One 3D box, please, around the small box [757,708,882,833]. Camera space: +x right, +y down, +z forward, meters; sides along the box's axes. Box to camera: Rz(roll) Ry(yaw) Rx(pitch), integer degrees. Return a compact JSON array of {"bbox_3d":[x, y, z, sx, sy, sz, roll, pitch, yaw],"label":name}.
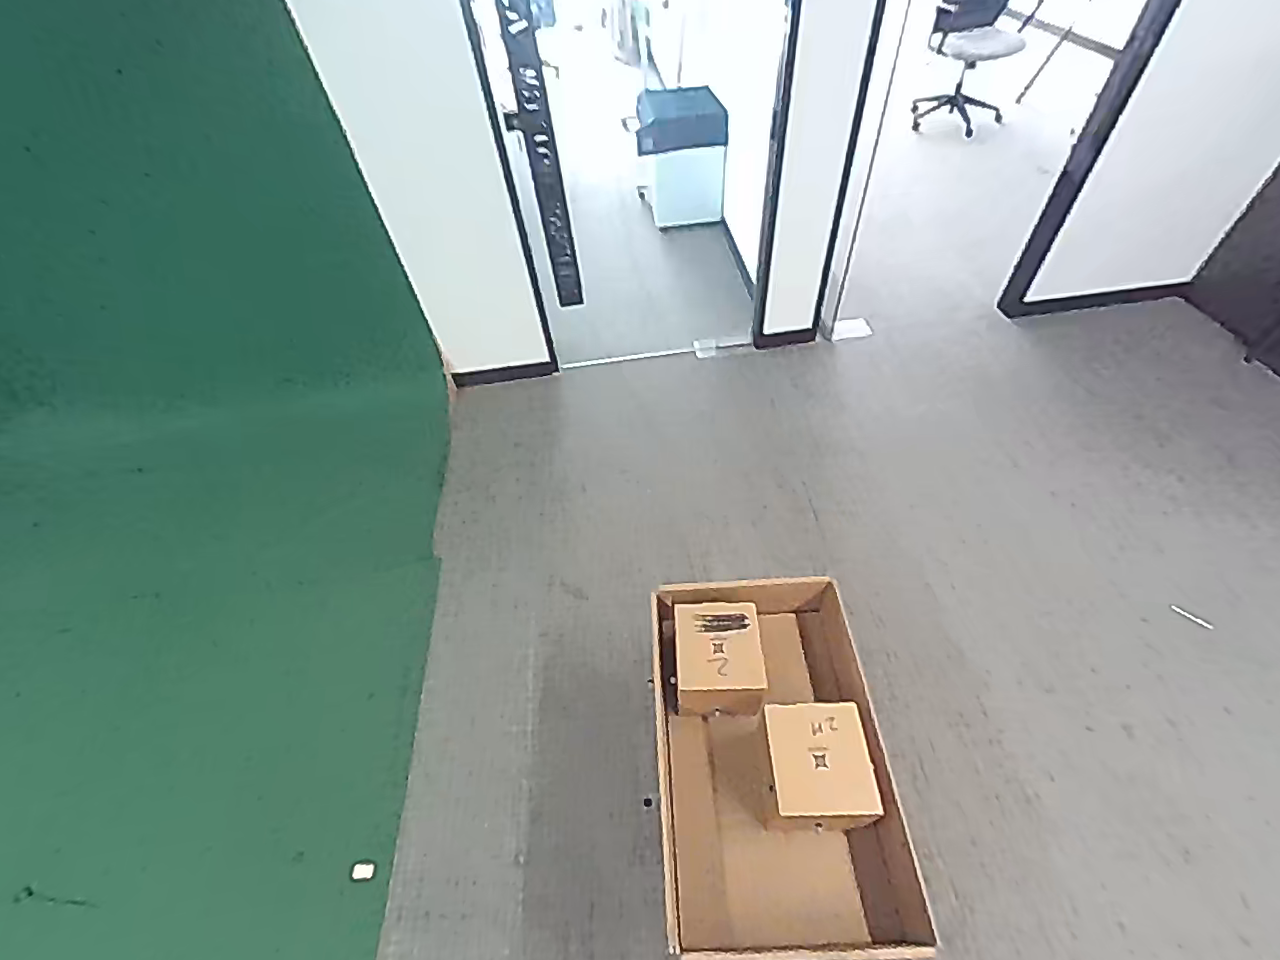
[{"bbox_3d":[0.307,0.520,0.965,0.168,0.176,0.179,-1,51,3],"label":"small box"}]
